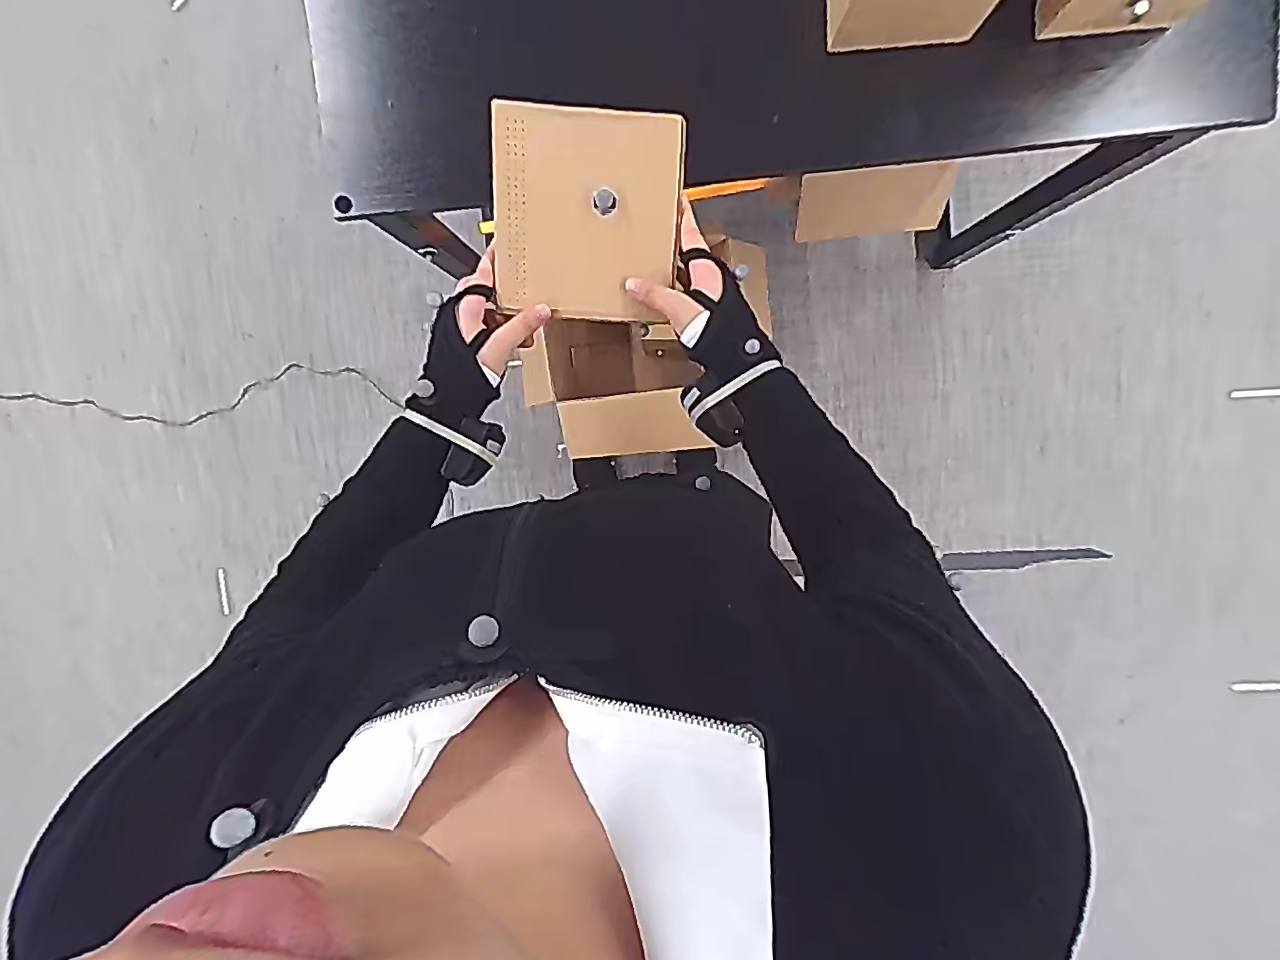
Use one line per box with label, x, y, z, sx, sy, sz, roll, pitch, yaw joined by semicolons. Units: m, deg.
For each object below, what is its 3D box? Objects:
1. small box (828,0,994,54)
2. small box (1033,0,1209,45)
small box;0.314;-0.609;0.592;0.179;0.176;0.168;-2;96;2
small box;0.559;-0.620;0.579;0.168;0.176;0.179;-2;96;3
